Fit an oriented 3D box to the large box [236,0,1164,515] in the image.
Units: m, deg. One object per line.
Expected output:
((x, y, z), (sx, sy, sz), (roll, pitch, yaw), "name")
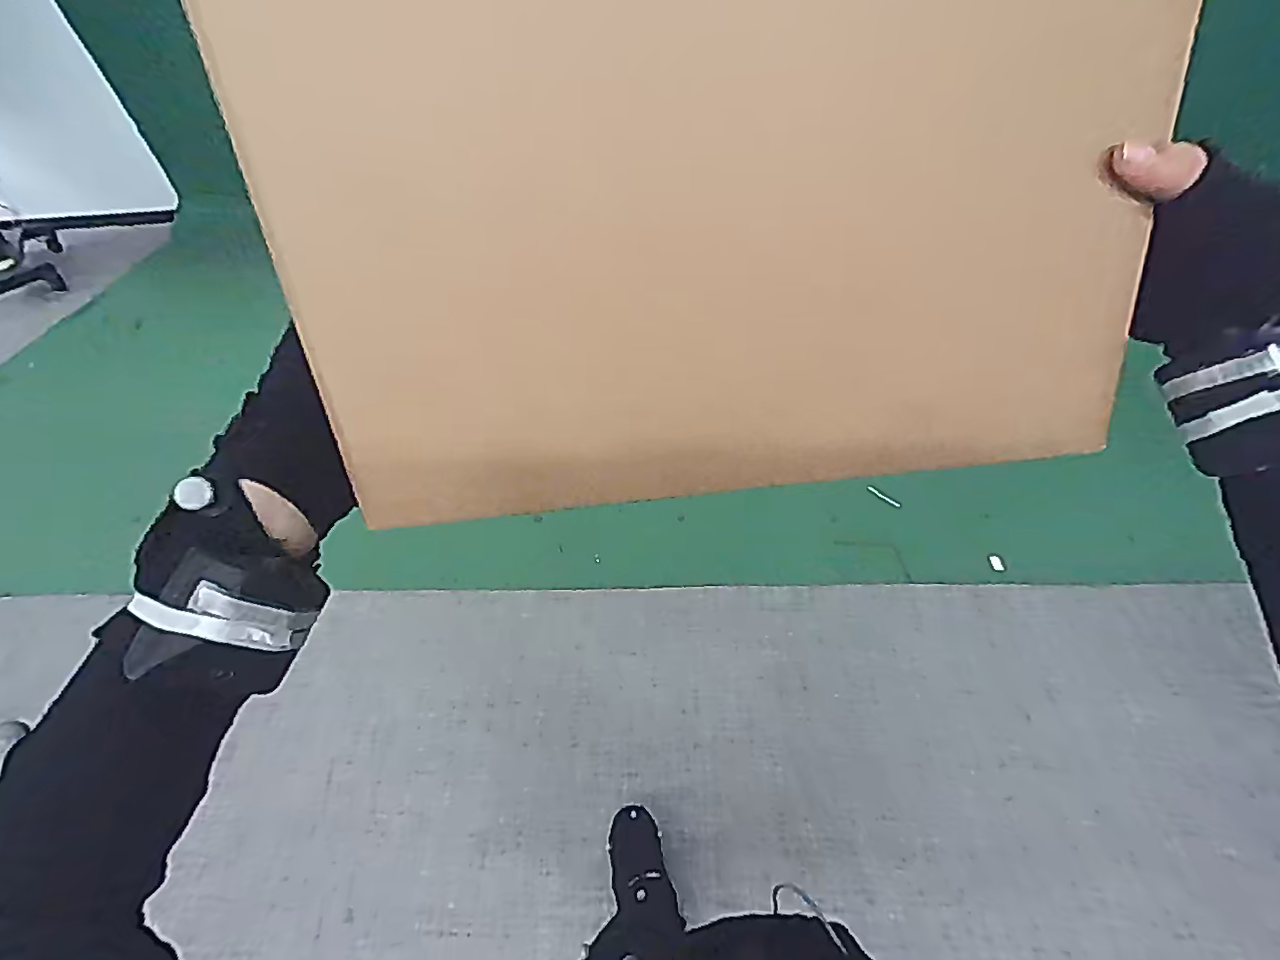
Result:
((0.031, -0.189, 0.390), (0.408, 0.320, 0.320), (-5, 22, 1), "large box")
